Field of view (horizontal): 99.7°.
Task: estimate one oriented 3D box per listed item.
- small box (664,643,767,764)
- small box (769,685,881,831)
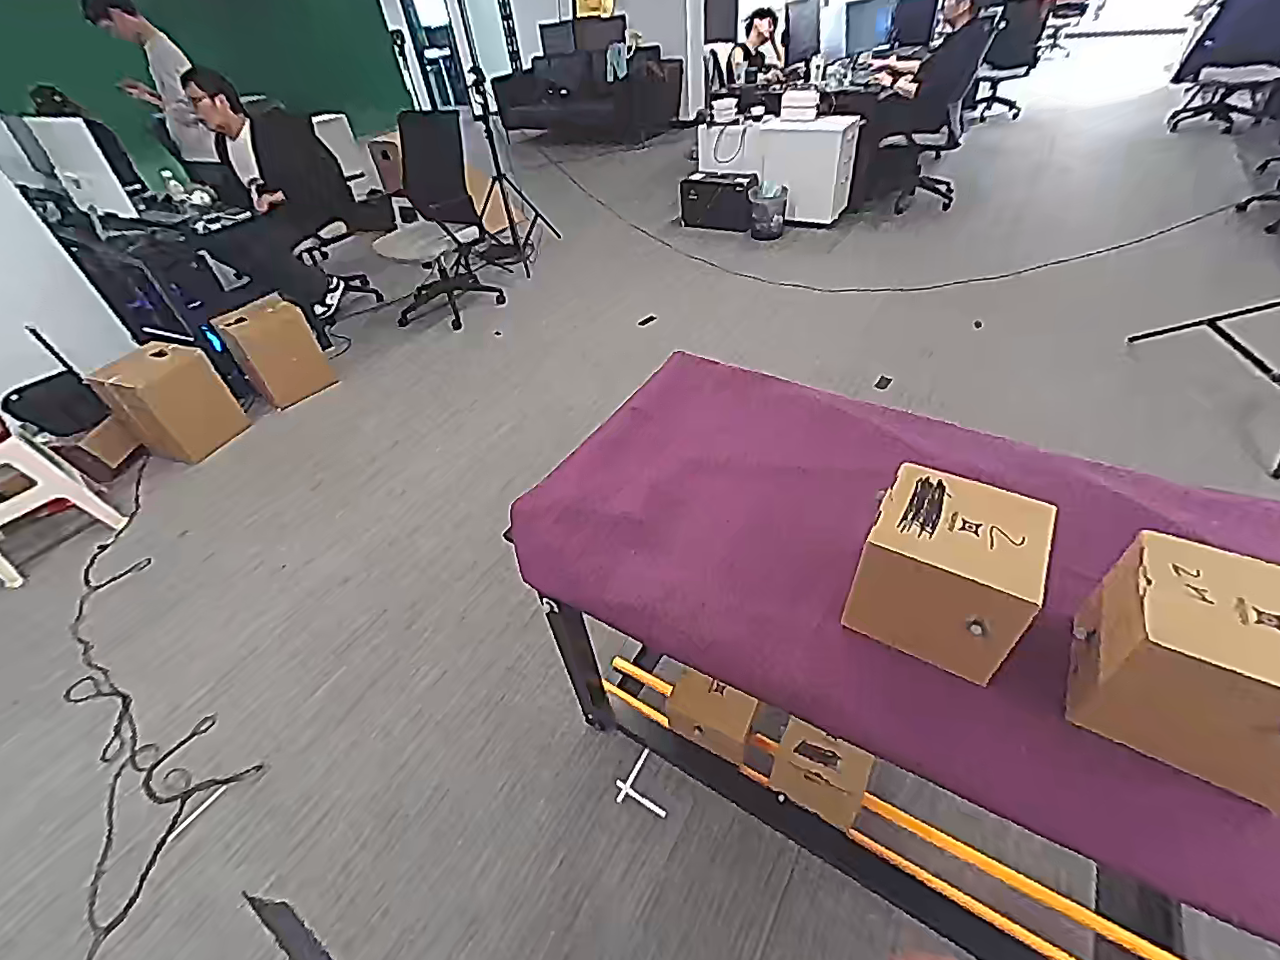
[{"bbox_3d":[0.170,0.504,1.207,0.179,0.176,0.168,17,48,24],"label":"small box"},{"bbox_3d":[0.372,0.568,1.105,0.168,0.176,0.179,19,41,26],"label":"small box"}]
